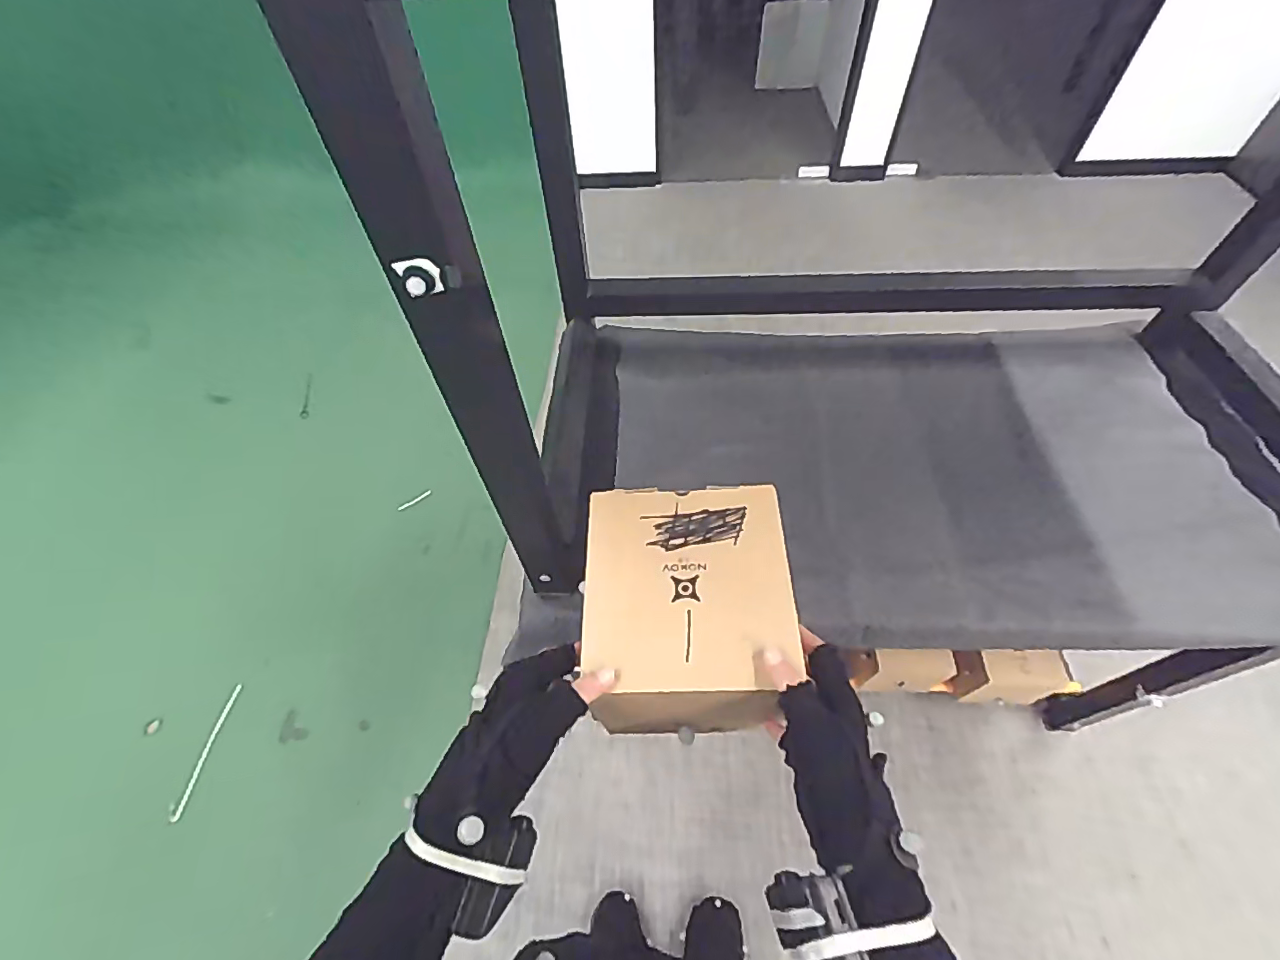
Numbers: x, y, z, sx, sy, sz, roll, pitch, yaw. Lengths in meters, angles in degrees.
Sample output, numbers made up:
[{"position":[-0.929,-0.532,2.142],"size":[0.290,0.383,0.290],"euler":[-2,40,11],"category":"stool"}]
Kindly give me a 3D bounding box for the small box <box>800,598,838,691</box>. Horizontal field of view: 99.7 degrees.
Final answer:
[{"position":[0.354,0.390,1.276],"size":[0.168,0.176,0.179],"euler":[1,55,3],"category":"small box"}]

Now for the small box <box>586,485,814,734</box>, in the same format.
[{"position":[0.048,0.123,0.497],"size":[0.168,0.176,0.179],"euler":[-3,55,4],"category":"small box"}]
